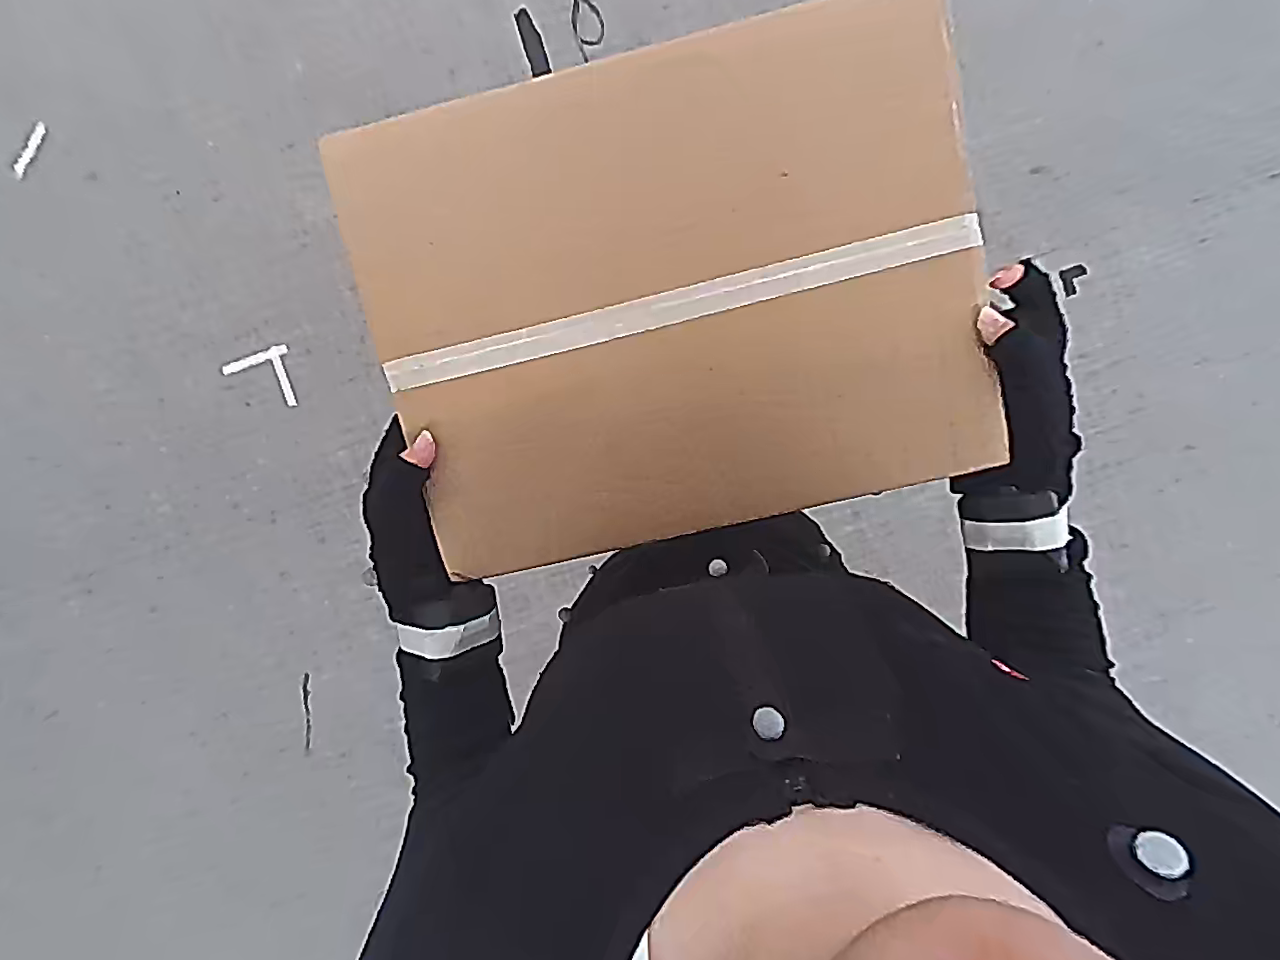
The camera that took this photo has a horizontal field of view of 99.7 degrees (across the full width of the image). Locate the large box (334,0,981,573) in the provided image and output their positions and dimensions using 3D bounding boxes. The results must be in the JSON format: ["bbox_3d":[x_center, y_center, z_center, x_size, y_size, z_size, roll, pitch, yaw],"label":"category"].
[{"bbox_3d":[0.024,-0.145,0.521,0.408,0.320,0.320,-13,98,4],"label":"large box"}]
